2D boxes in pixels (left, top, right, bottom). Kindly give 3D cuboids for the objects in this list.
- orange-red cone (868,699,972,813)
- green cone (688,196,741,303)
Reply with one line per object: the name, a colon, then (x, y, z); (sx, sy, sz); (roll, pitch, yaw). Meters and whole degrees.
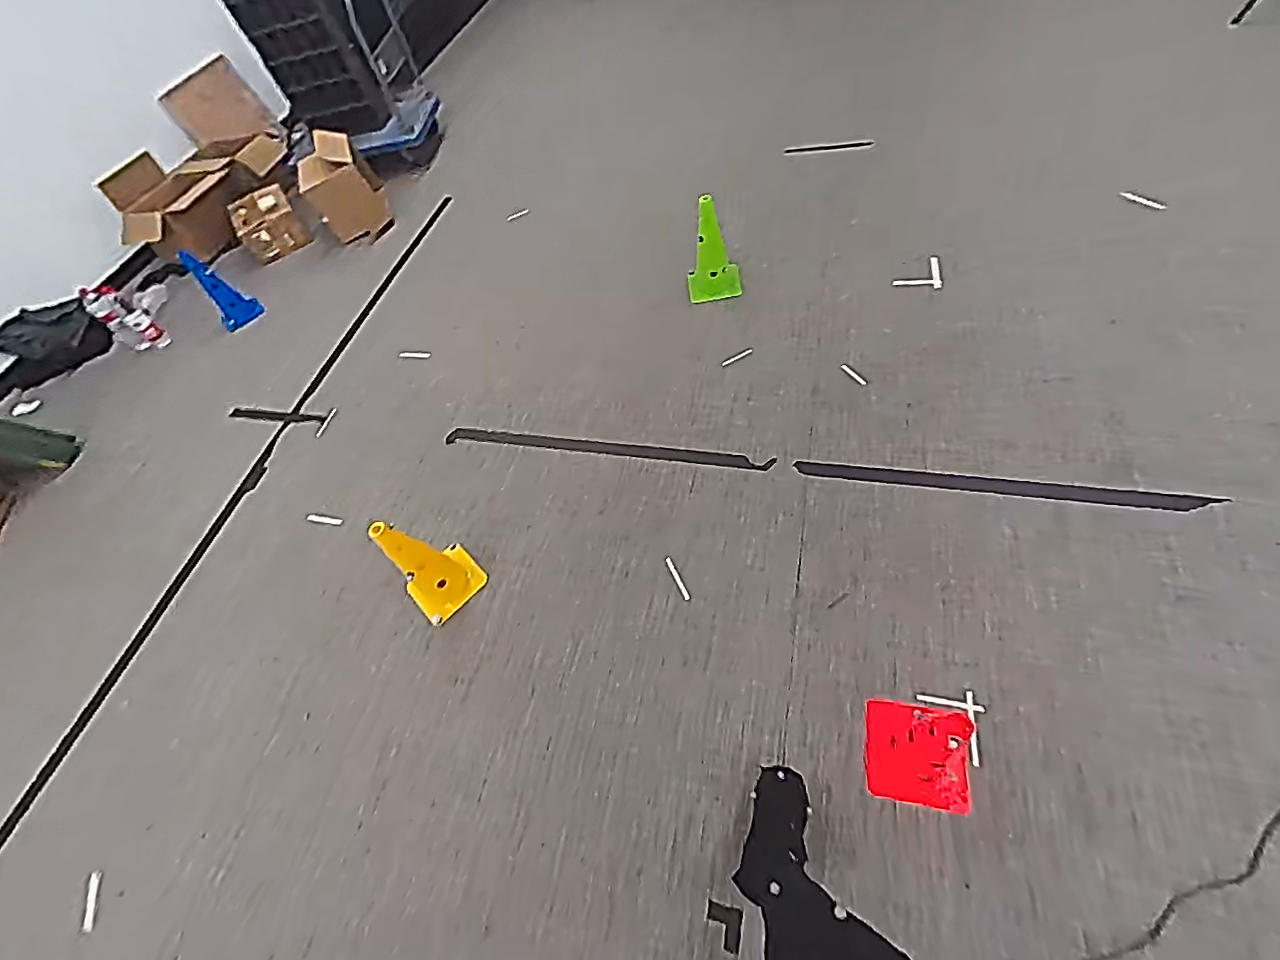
orange-red cone: (0.561, 0.493, 1.027); (0.199, 0.360, 0.198); (4, 57, 18)
green cone: (0.266, -0.879, 2.027); (0.202, 0.368, 0.200); (-7, 56, 8)
